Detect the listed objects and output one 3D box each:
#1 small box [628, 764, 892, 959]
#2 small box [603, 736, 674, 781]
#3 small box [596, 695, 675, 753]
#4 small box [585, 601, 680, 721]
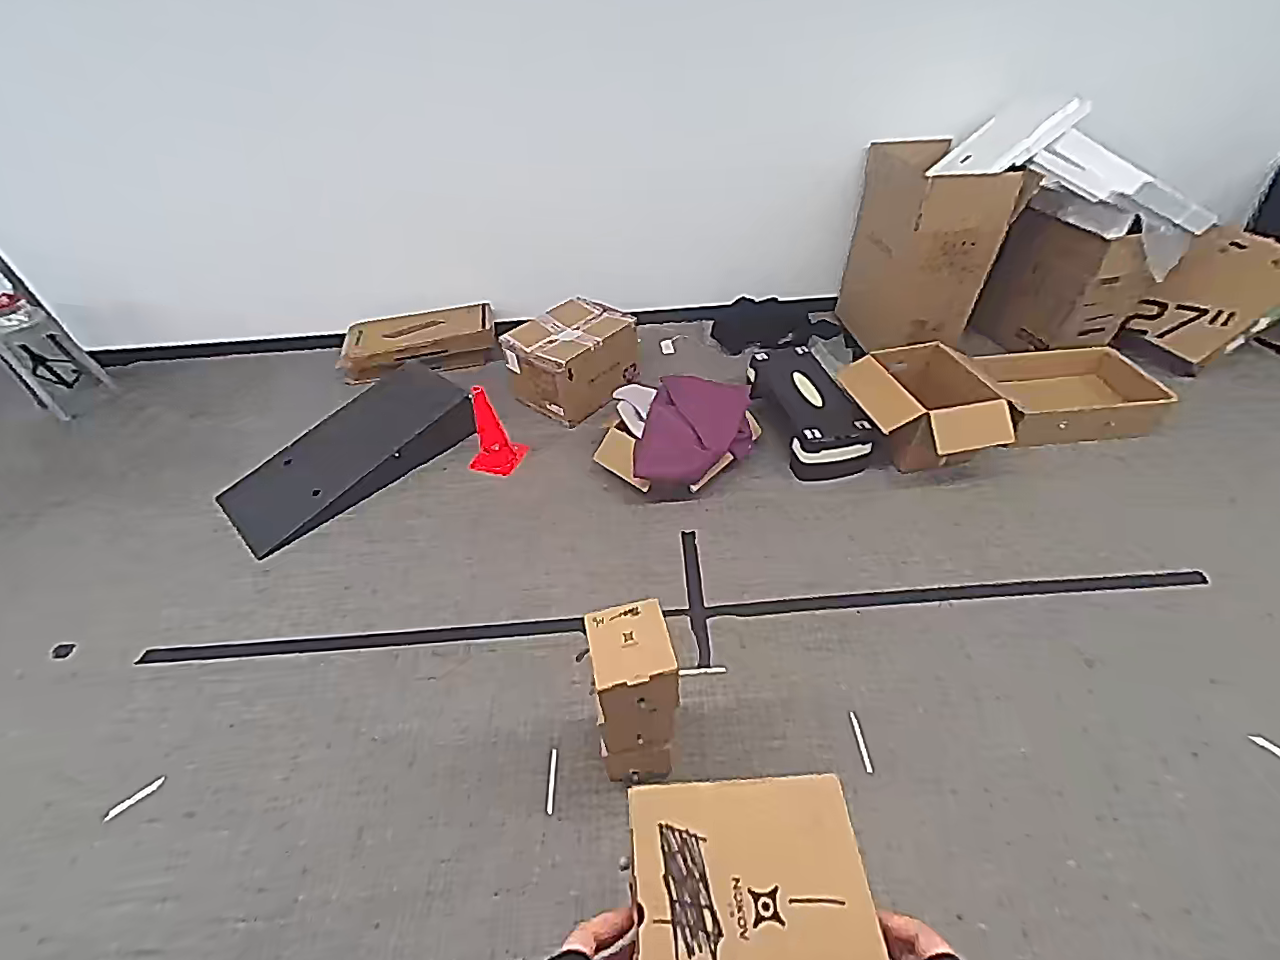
[{"bbox_3d":[0.083,0.353,0.449,0.179,0.176,0.168,-3,48,-2],"label":"small box"},{"bbox_3d":[-0.007,0.637,1.373,0.168,0.176,0.179,-7,45,-1],"label":"small box"},{"bbox_3d":[-0.016,0.509,1.269,0.168,0.176,0.179,-11,44,-4],"label":"small box"},{"bbox_3d":[-0.015,0.391,1.153,0.168,0.176,0.179,-12,44,-6],"label":"small box"}]
